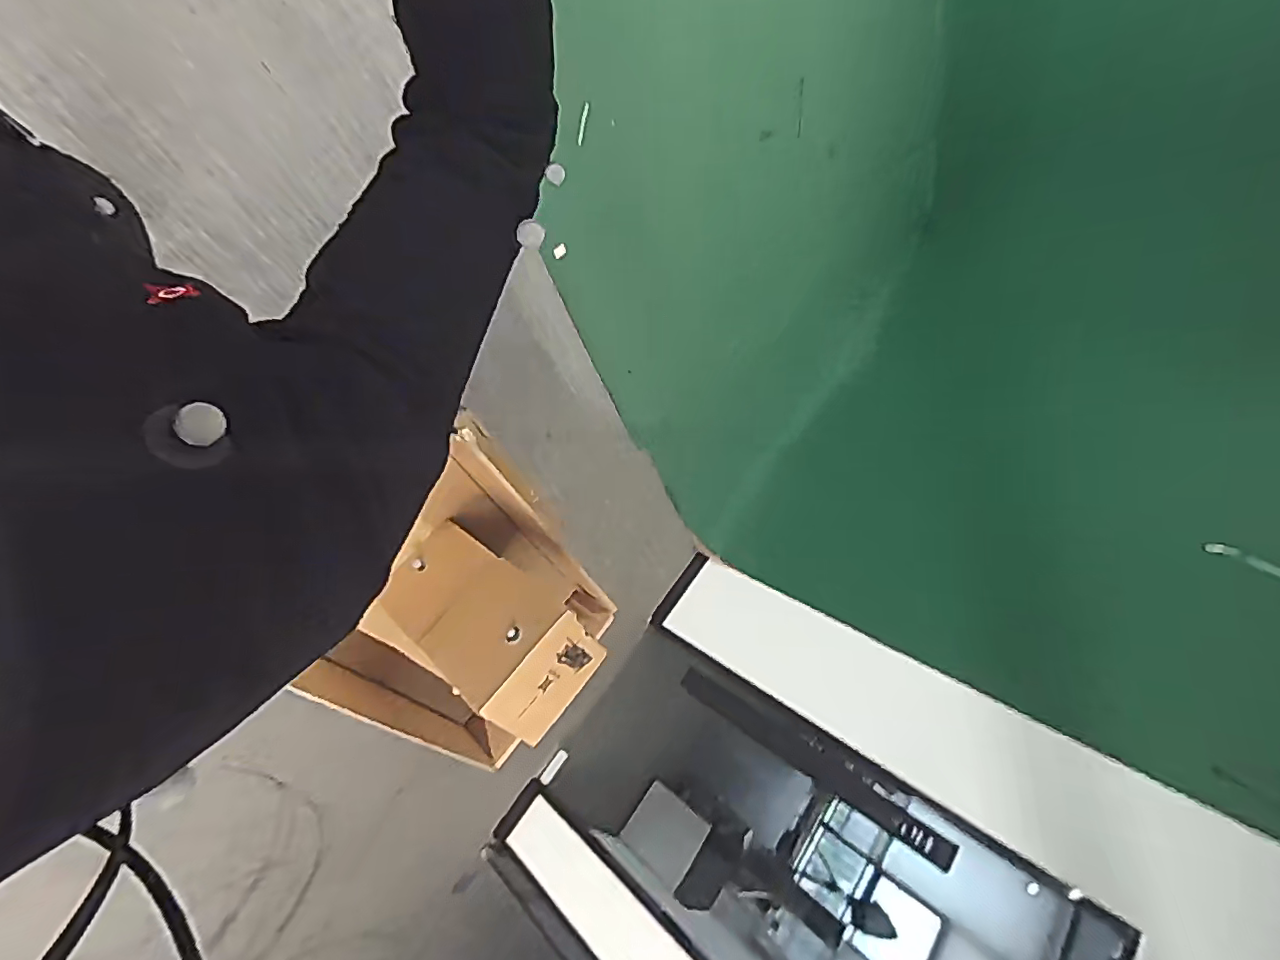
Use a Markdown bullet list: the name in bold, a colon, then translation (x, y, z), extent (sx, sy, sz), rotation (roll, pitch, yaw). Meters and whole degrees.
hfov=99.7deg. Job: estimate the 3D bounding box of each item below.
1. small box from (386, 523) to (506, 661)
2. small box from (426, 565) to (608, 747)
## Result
- **small box**: translation (-0.302, 0.207, 0.928), extent (0.179, 0.176, 0.168), rotation (-50, 142, -18)
- **small box**: translation (-0.186, 0.262, 0.826), extent (0.179, 0.176, 0.168), rotation (-48, 140, -20)
